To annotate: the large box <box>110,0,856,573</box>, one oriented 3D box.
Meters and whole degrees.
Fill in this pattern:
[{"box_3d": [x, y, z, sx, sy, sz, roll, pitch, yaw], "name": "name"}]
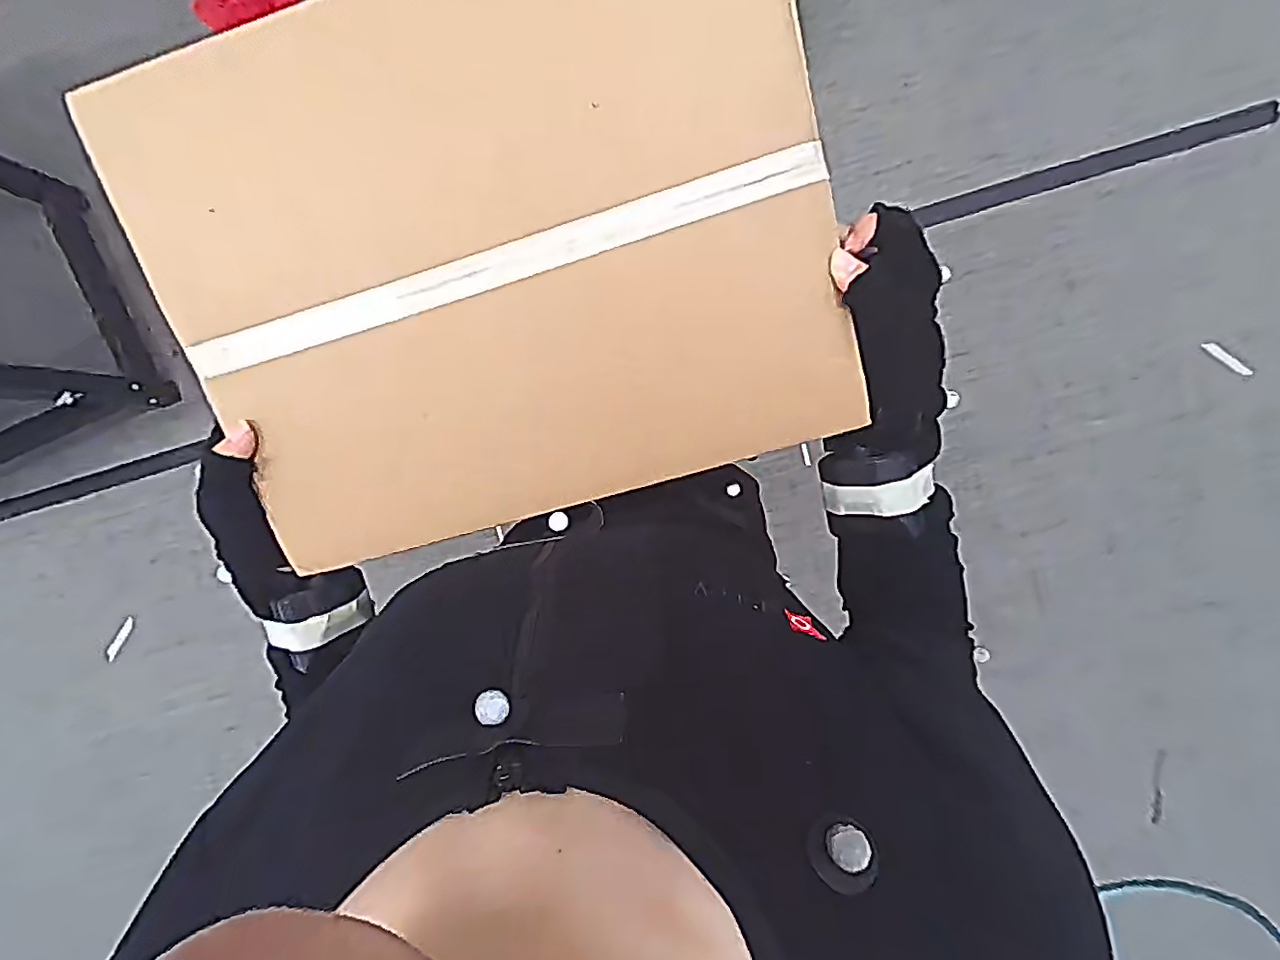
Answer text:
[{"box_3d": [-0.082, -0.165, 0.482, 0.408, 0.320, 0.320, -15, 104, 6], "name": "large box"}]
